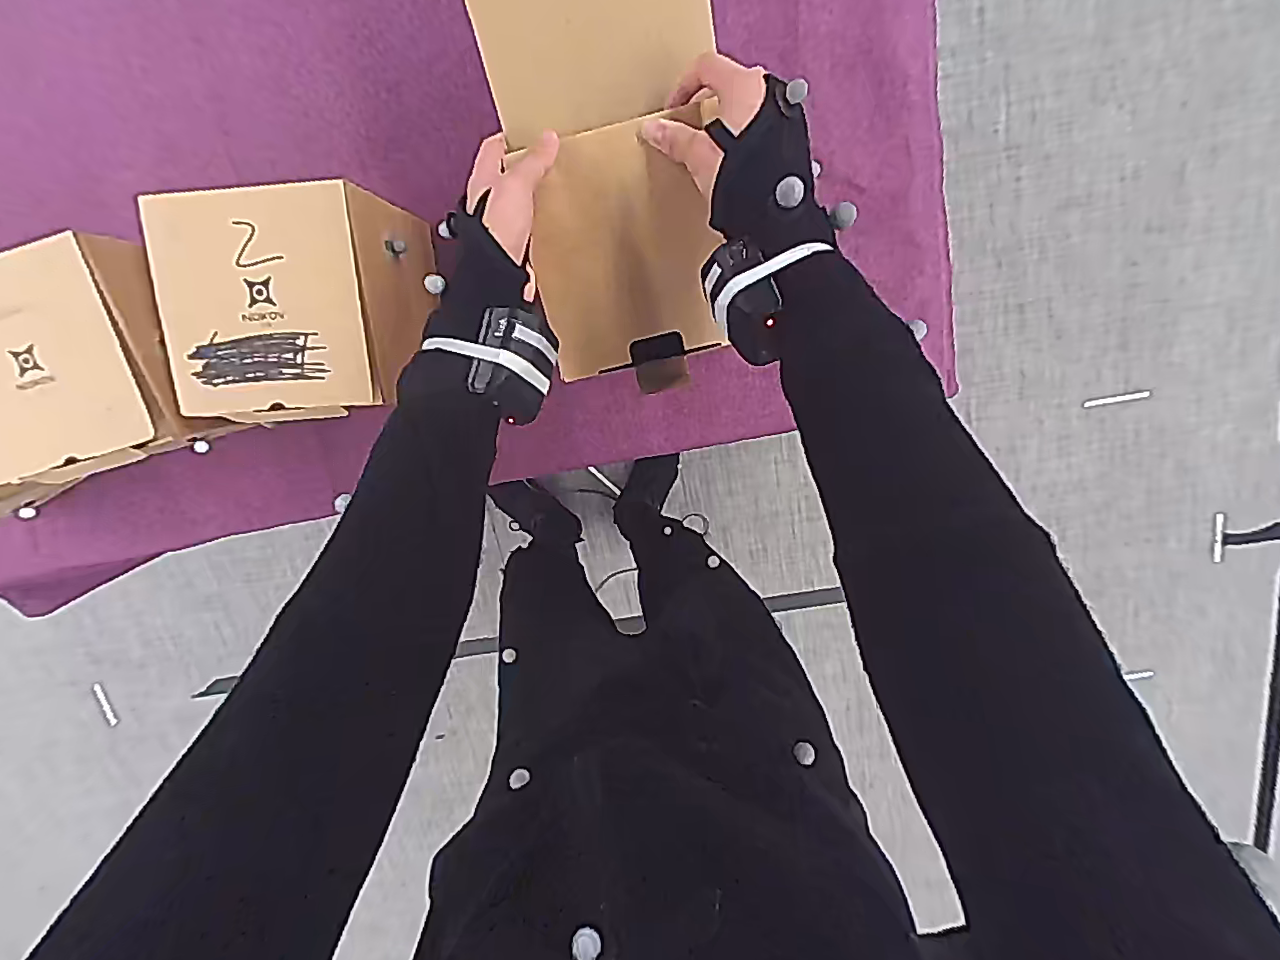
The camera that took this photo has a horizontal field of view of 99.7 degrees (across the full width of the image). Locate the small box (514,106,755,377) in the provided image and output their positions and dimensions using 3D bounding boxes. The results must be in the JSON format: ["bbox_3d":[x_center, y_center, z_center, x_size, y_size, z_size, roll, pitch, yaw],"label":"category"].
[{"bbox_3d":[-0.001,-0.199,0.501,0.168,0.176,0.179,-11,104,4],"label":"small box"}]
